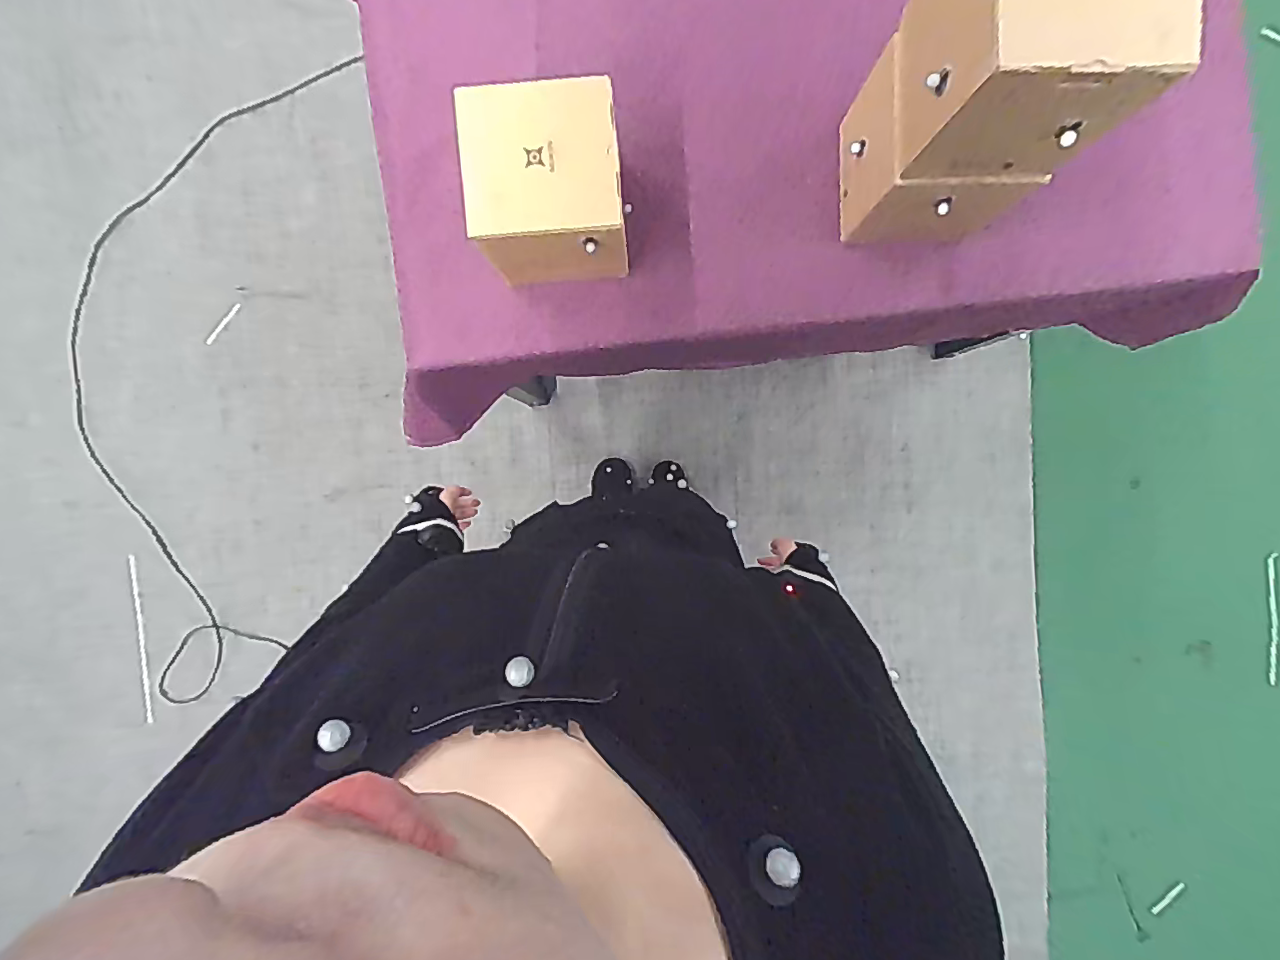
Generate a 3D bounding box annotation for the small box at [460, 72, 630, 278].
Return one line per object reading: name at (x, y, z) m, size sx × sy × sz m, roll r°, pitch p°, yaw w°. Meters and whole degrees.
small box at (-0.107, -0.366, 0.681) m, size 0.179 × 0.176 × 0.168 m, roll -5°, pitch 92°, yaw 0°

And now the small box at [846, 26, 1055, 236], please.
small box at (0.368, -0.416, 0.669) m, size 0.179 × 0.176 × 0.168 m, roll -1°, pitch 93°, yaw 1°

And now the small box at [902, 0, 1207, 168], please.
small box at (0.365, -0.419, 0.505) m, size 0.168 × 0.176 × 0.179 m, roll 0°, pitch 92°, yaw 1°
